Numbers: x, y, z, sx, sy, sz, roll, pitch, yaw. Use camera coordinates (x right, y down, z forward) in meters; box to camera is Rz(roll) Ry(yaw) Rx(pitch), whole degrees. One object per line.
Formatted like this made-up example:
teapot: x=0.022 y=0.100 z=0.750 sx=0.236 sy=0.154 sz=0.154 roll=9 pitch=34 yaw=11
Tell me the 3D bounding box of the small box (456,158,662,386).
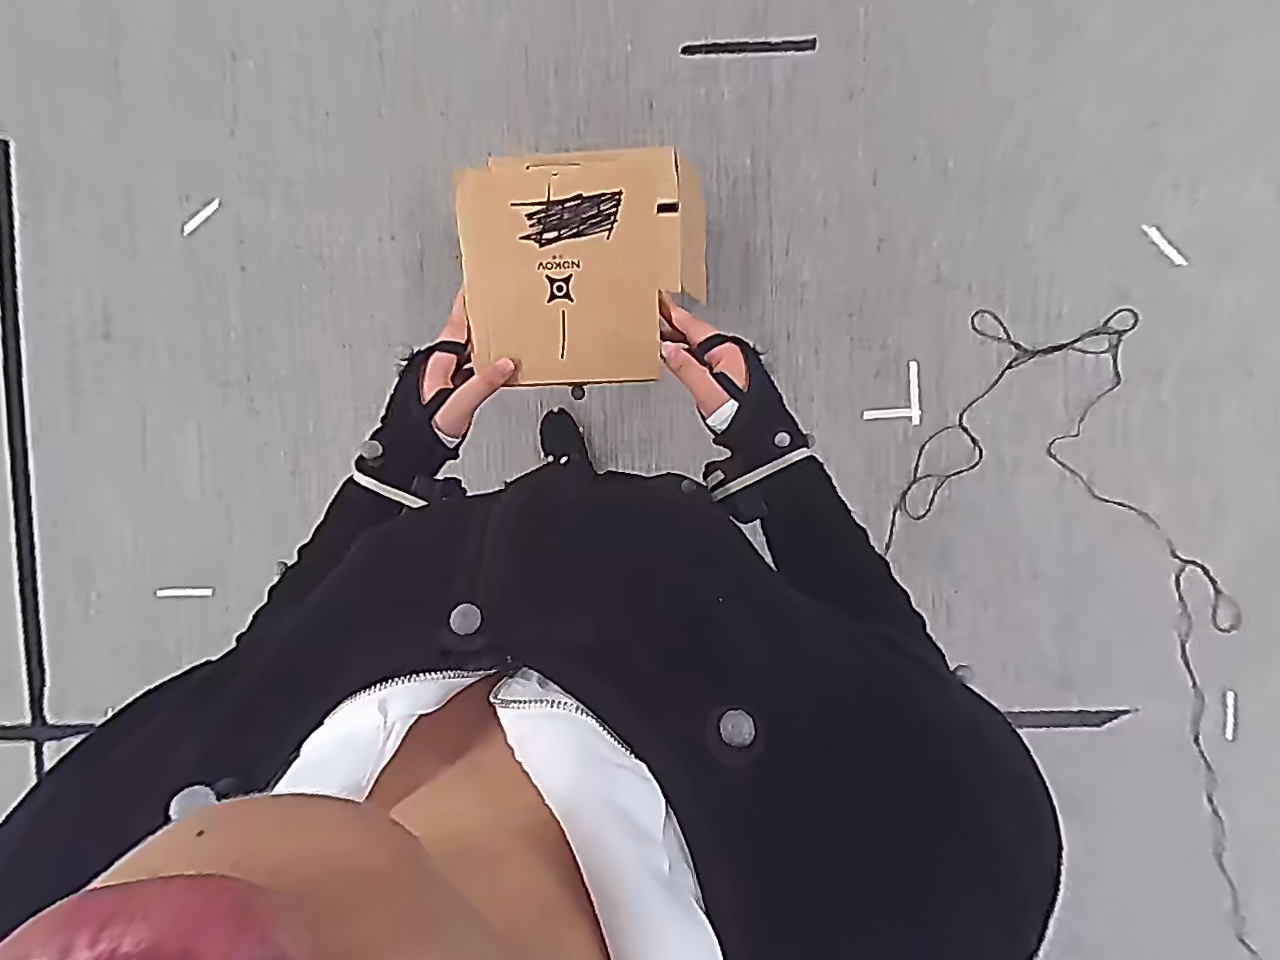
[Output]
small box: x=-0.065 y=-0.183 z=0.524 sx=0.168 sy=0.176 sz=0.179 roll=-2 pitch=100 yaw=1
